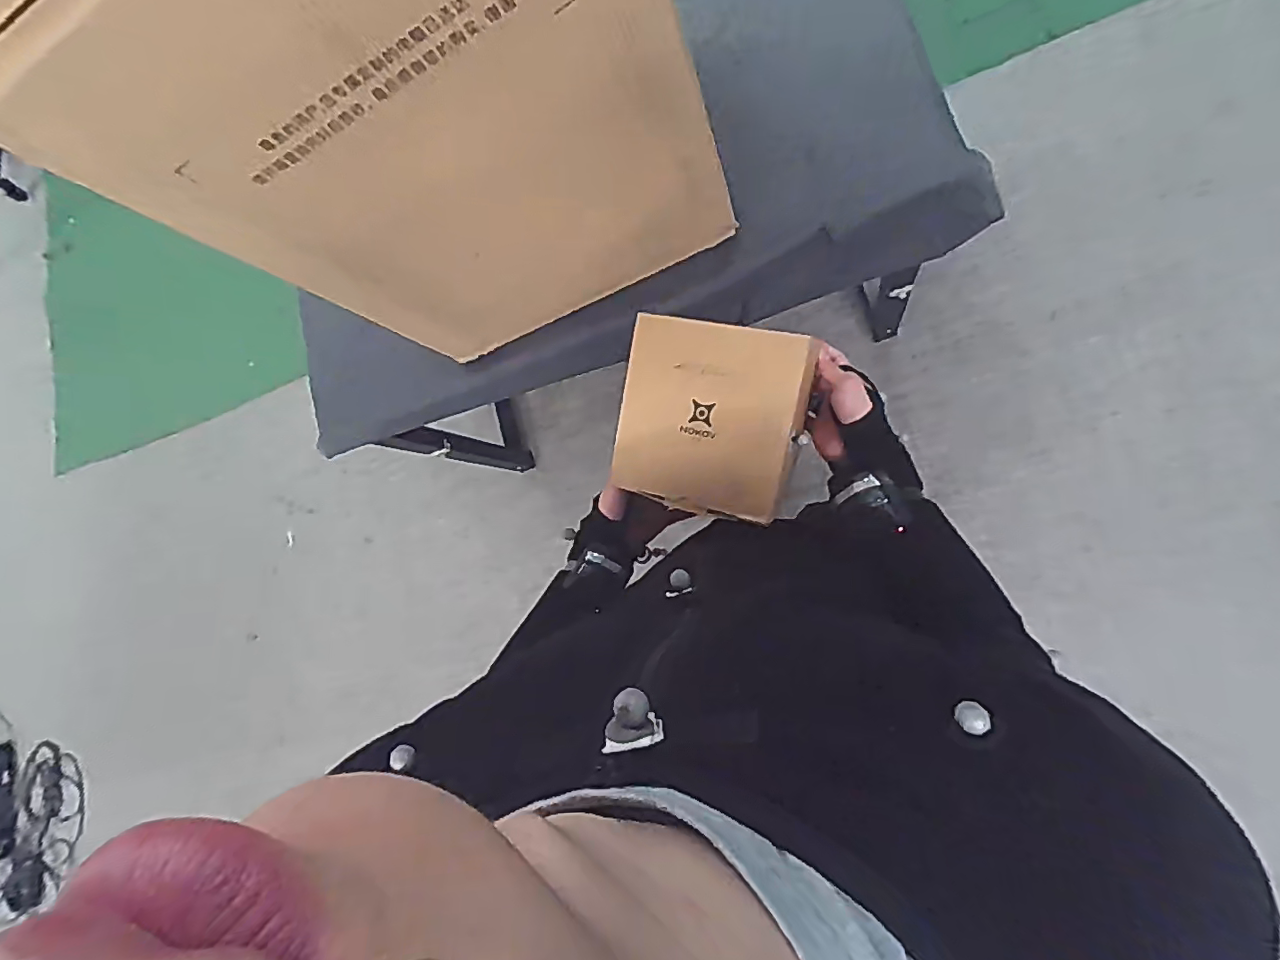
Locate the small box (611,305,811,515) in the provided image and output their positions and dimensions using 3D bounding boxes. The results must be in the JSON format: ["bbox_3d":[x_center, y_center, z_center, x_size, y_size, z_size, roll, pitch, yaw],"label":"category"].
[{"bbox_3d":[0.086,-0.078,0.587,0.168,0.176,0.179,13,101,17],"label":"small box"}]
